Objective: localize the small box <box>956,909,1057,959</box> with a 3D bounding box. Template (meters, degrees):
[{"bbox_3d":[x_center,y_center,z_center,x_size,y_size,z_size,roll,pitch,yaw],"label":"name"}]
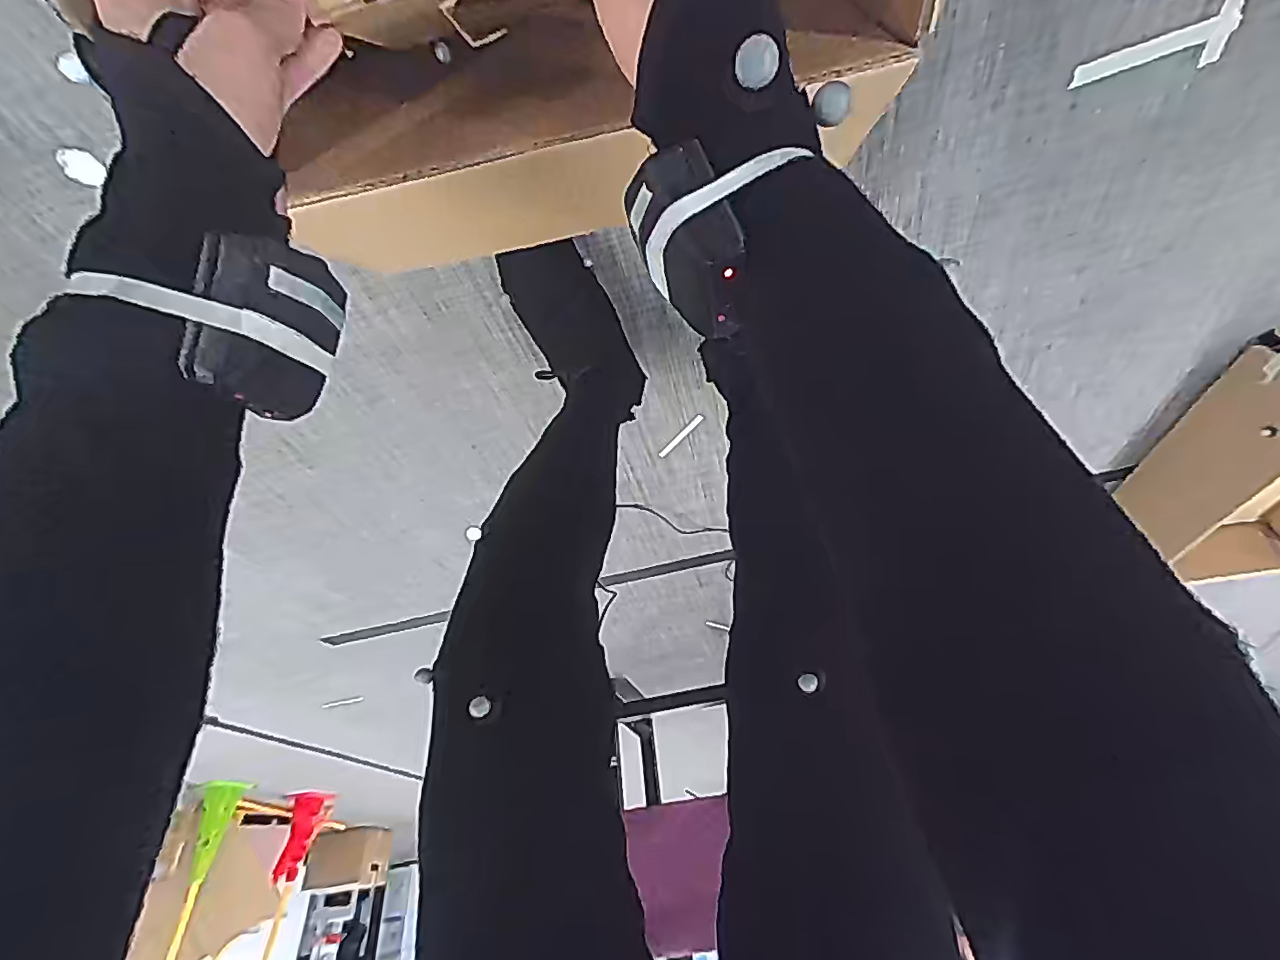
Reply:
[{"bbox_3d":[0.945,1.217,1.383,0.168,0.176,0.179,-10,142,5],"label":"small box"}]
